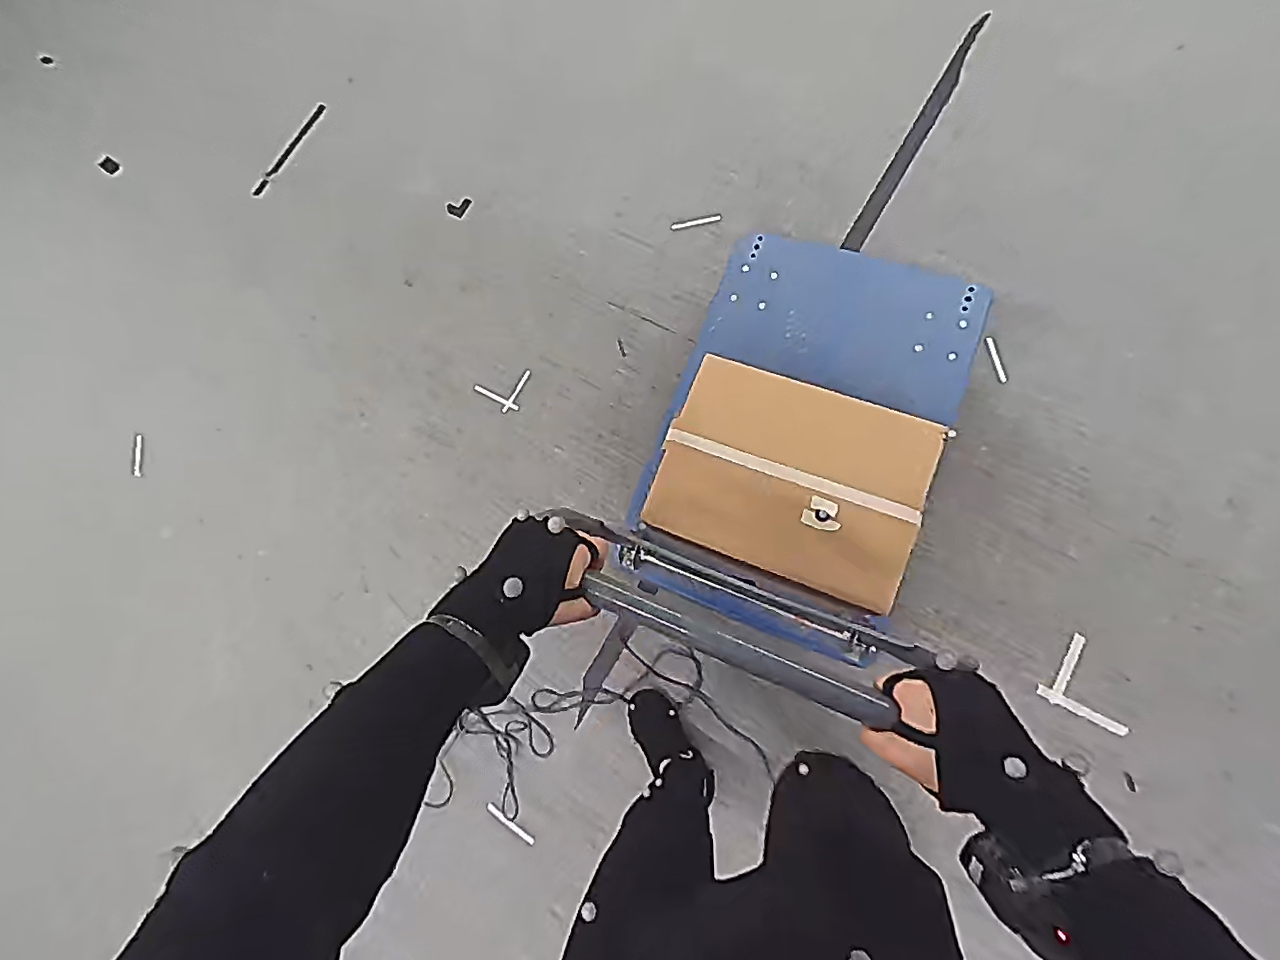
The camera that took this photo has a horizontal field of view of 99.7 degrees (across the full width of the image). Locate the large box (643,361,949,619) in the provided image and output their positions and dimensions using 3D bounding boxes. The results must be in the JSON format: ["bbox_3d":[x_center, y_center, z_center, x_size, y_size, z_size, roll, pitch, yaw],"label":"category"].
[{"bbox_3d":[0.258,0.033,0.989,0.408,0.320,0.320,21,82,13],"label":"large box"}]
